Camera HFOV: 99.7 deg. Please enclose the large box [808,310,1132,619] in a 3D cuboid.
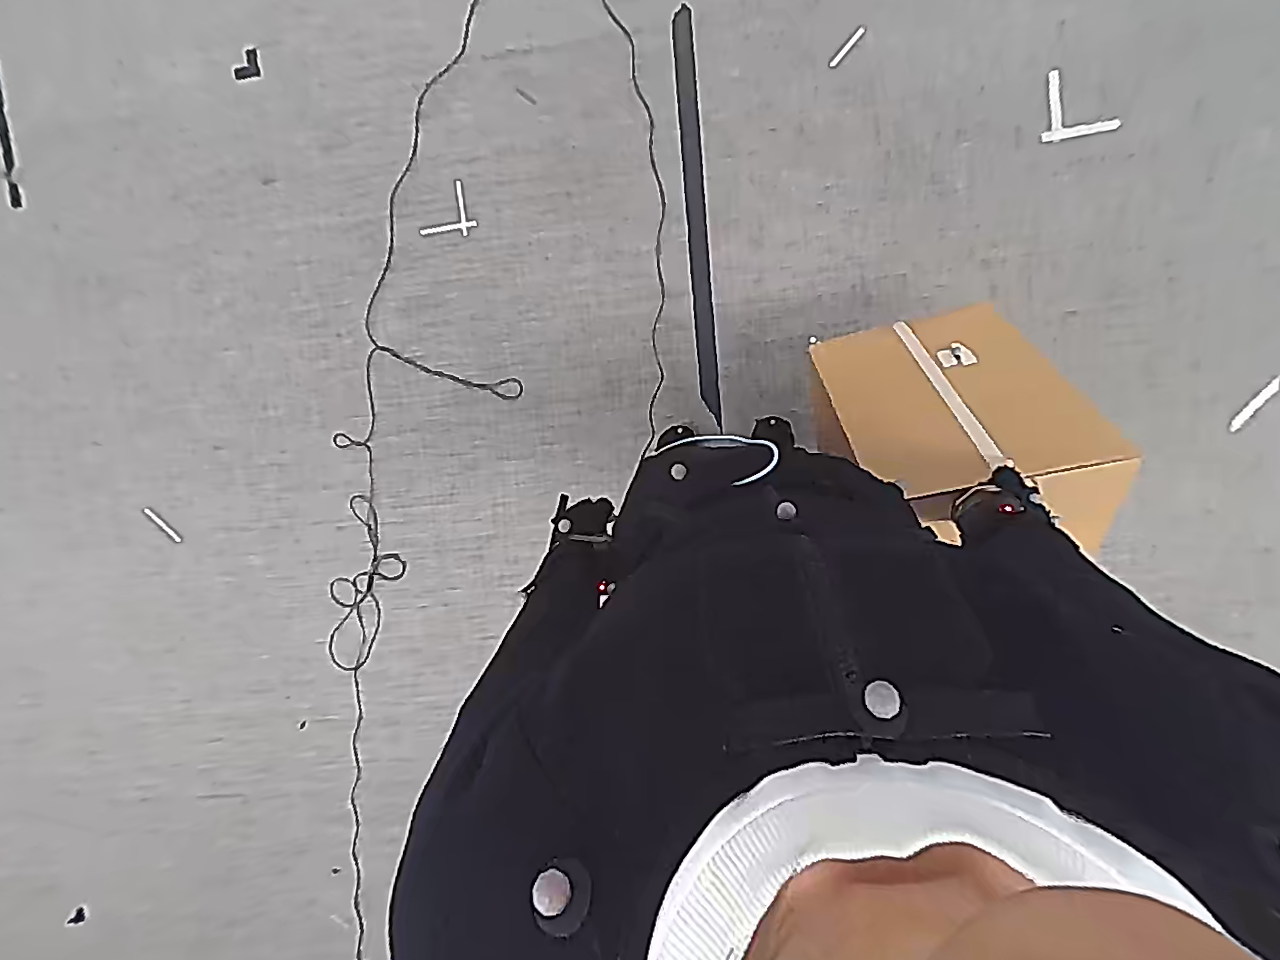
[{"bbox_3d":[0.506,-0.030,0.938,0.320,0.408,0.320,-12,133,9],"label":"large box"}]
